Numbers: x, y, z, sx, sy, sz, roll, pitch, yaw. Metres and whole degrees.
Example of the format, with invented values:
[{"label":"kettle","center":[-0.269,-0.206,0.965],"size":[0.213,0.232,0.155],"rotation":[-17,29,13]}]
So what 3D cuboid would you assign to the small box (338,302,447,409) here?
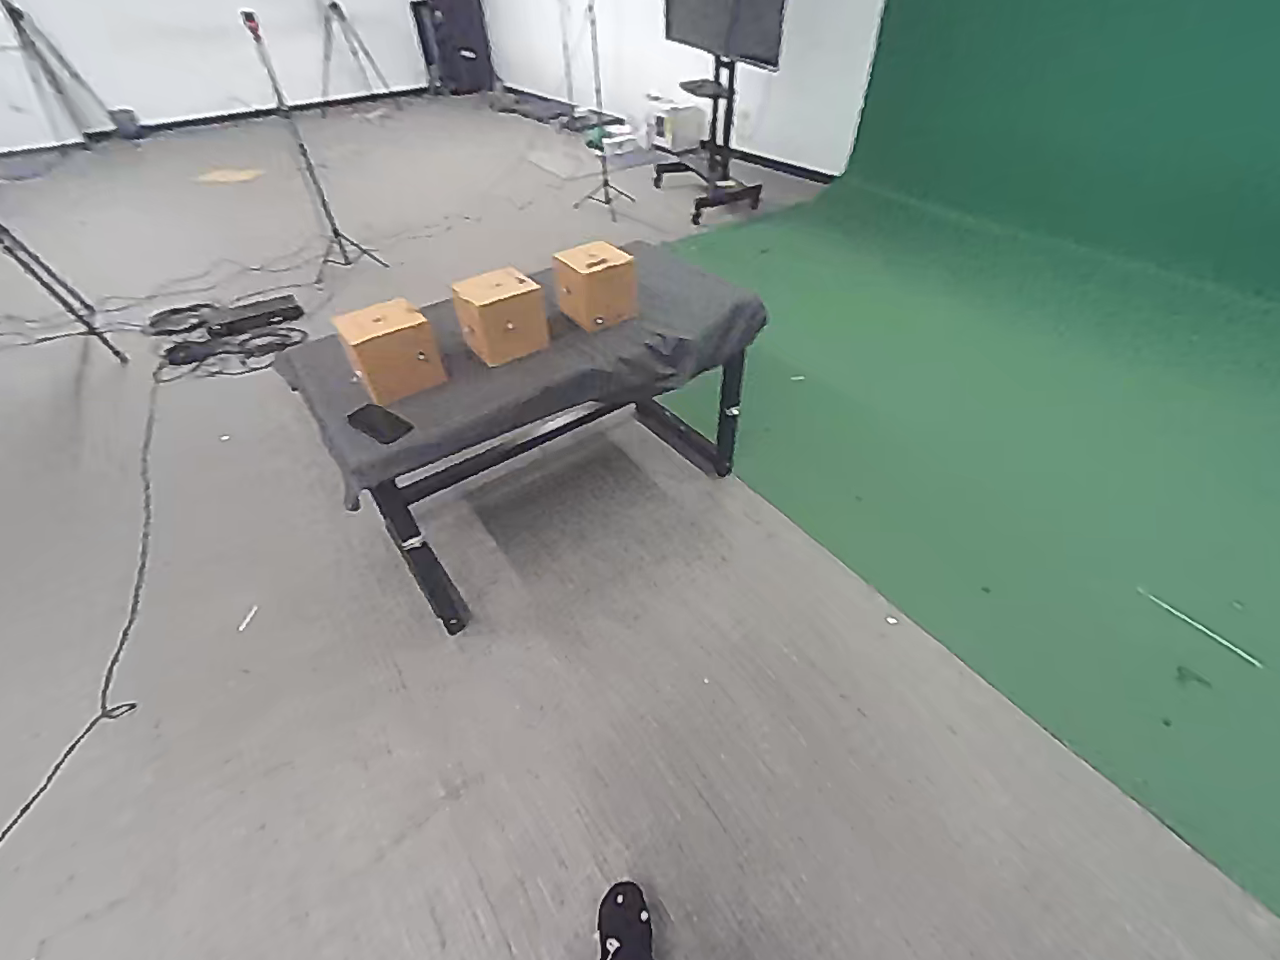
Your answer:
[{"label":"small box","center":[-0.585,-0.300,1.304],"size":[0.179,0.176,0.168],"rotation":[-30,49,-26]}]

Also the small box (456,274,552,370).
[{"label":"small box","center":[-0.350,-0.413,1.416],"size":[0.179,0.176,0.168],"rotation":[-28,50,-24]}]

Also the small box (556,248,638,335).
[{"label":"small box","center":[-0.116,-0.530,1.532],"size":[0.168,0.176,0.179],"rotation":[-26,48,-24]}]
